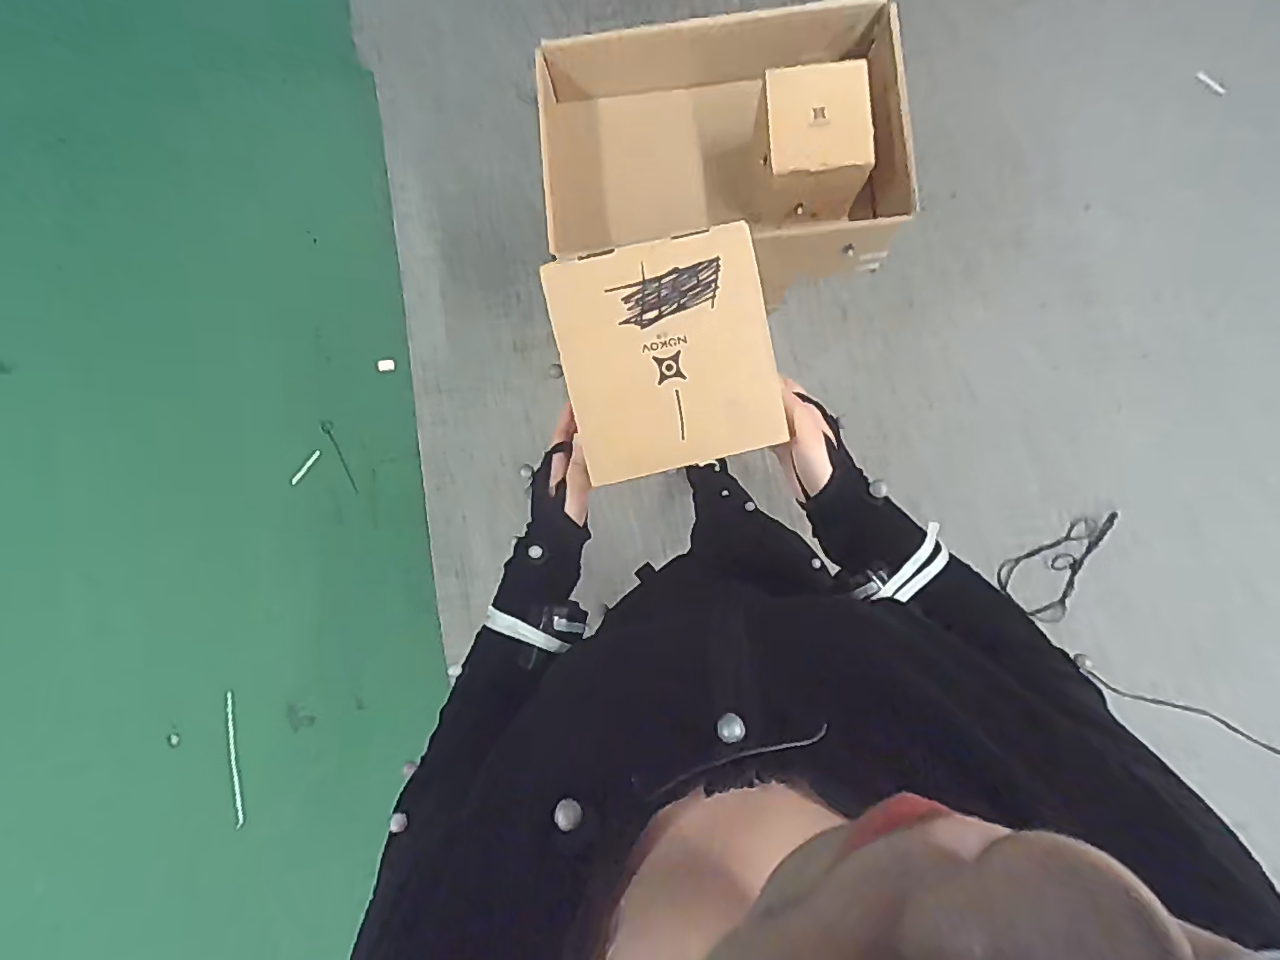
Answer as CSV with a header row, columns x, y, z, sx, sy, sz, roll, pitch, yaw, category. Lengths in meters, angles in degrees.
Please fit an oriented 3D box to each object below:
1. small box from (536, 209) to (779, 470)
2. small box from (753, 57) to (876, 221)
x,y,z,sx,sy,sz,roll,pitch,yaw,category
0.011,-0.117,0.500,0.168,0.176,0.179,-13,98,-2,small box
0.295,-0.585,0.946,0.168,0.176,0.179,-4,88,4,small box
